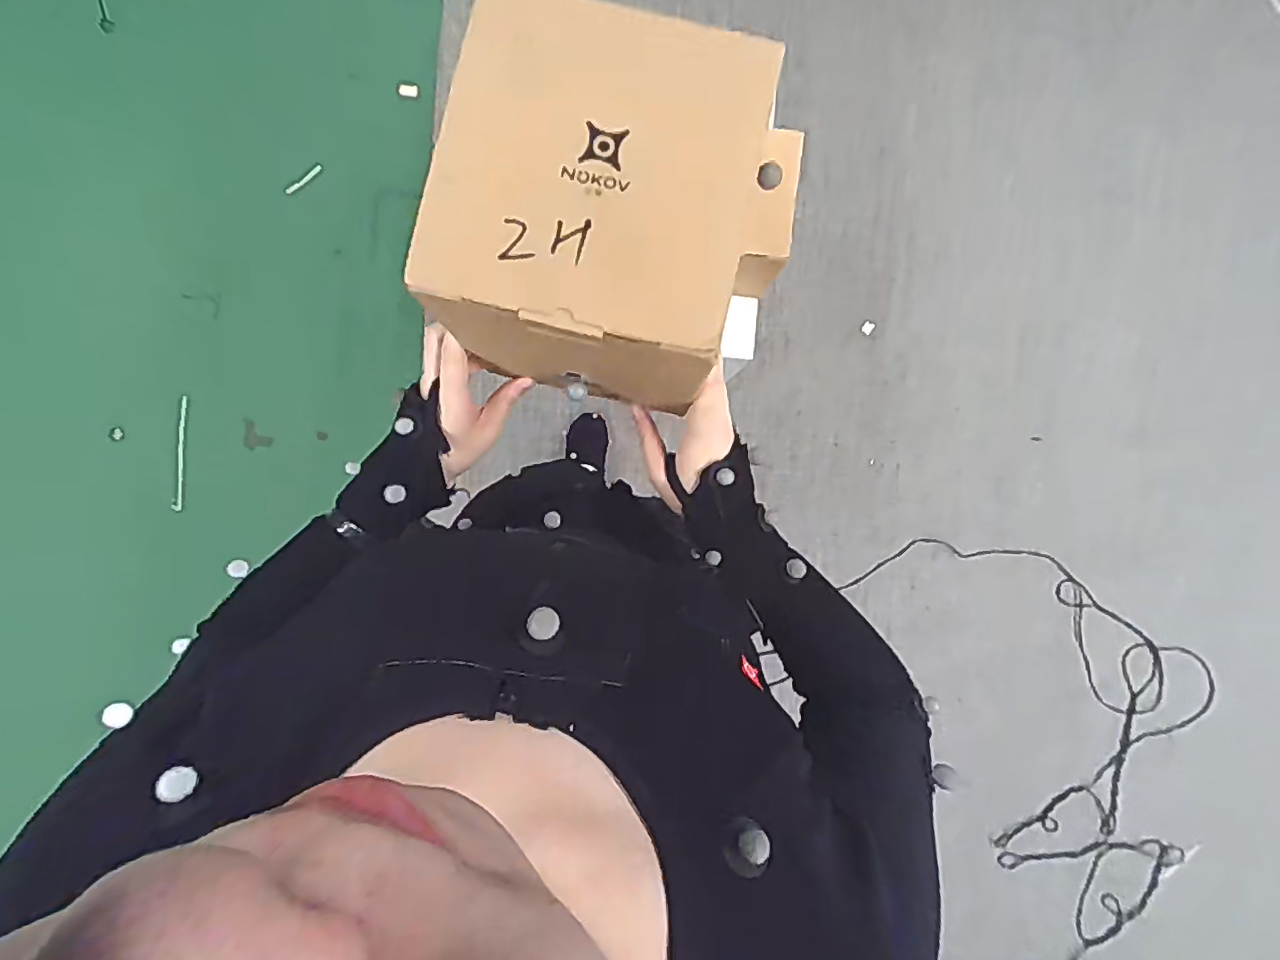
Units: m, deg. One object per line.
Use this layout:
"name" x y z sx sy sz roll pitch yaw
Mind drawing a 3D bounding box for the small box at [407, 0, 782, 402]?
"small box" -0.023 -0.167 0.361 0.168 0.176 0.179 13 87 0

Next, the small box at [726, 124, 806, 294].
"small box" 0.135 -0.400 0.812 0.168 0.176 0.179 7 92 0
